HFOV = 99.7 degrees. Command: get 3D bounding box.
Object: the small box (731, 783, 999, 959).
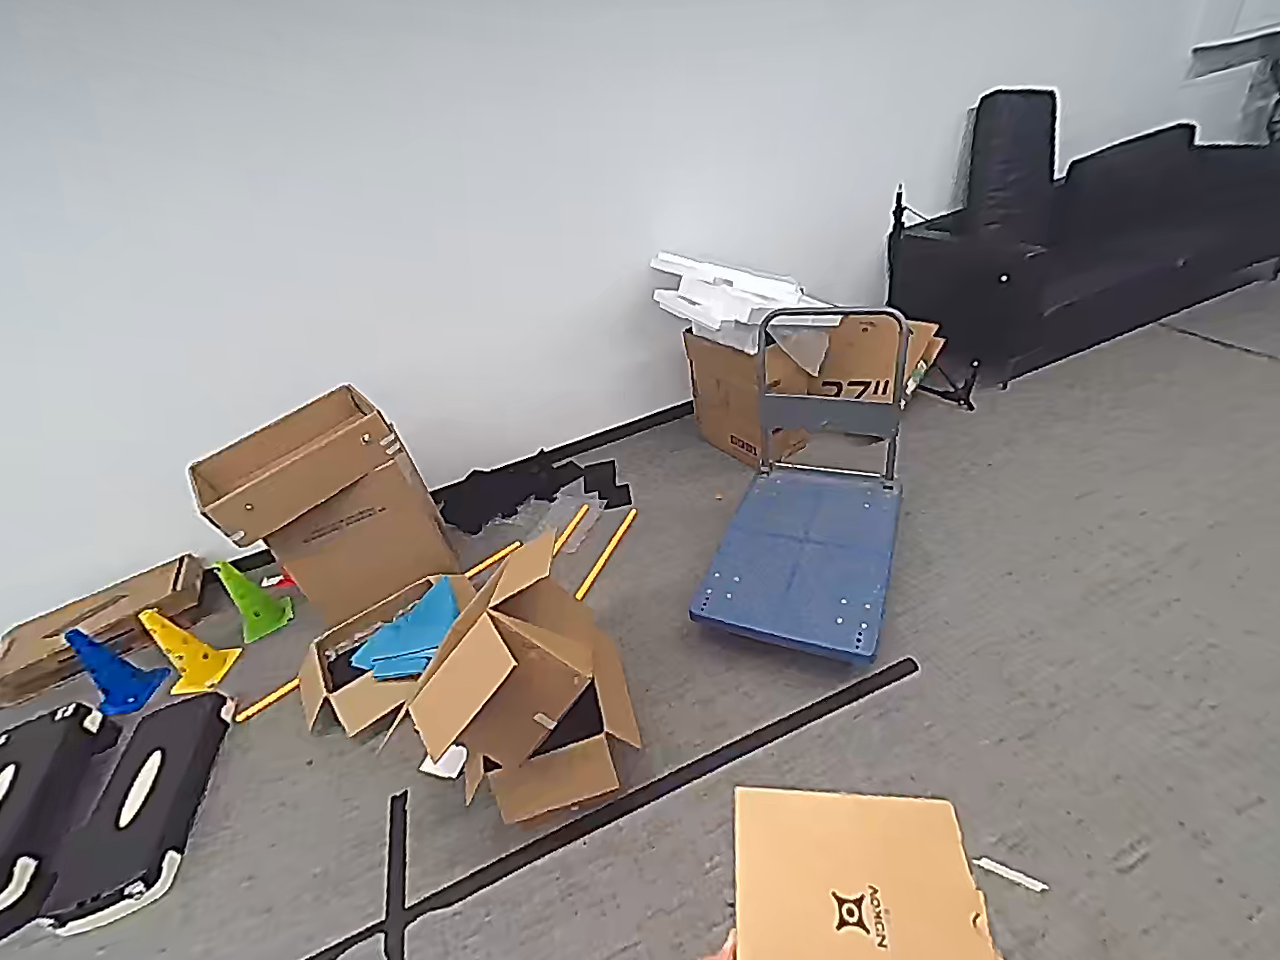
[{"bbox_3d":[0.167,0.371,0.434,0.179,0.176,0.168,-2,37,12],"label":"small box"}]
